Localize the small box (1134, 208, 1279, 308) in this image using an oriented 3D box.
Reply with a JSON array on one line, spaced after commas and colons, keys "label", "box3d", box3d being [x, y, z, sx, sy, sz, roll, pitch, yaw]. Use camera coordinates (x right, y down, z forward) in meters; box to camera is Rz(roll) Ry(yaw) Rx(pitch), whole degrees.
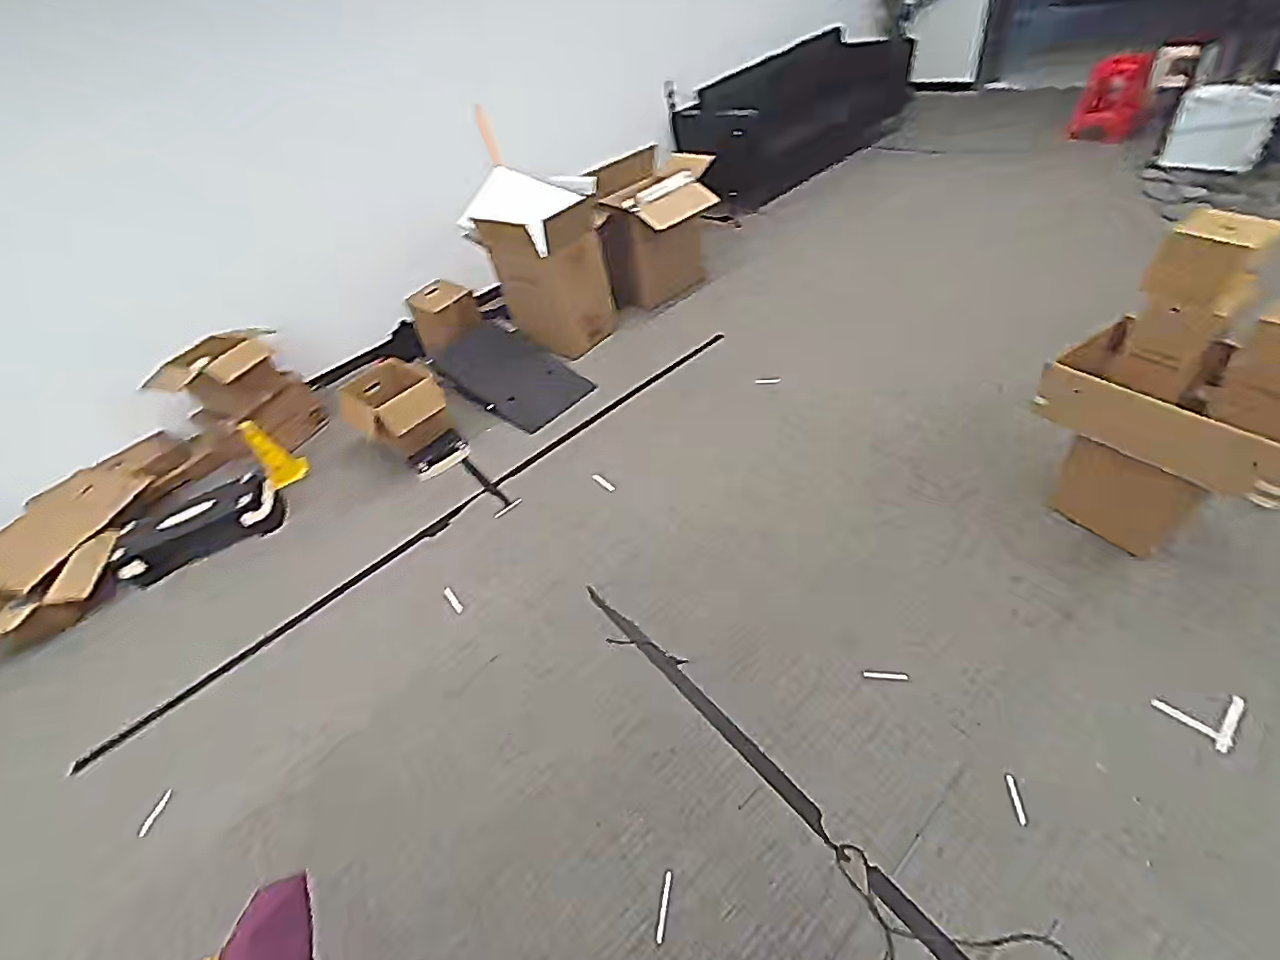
[{"label": "small box", "box3d": [1.435, -0.561, 1.377, 0.168, 0.176, 0.179, -29, 46, -16]}]
